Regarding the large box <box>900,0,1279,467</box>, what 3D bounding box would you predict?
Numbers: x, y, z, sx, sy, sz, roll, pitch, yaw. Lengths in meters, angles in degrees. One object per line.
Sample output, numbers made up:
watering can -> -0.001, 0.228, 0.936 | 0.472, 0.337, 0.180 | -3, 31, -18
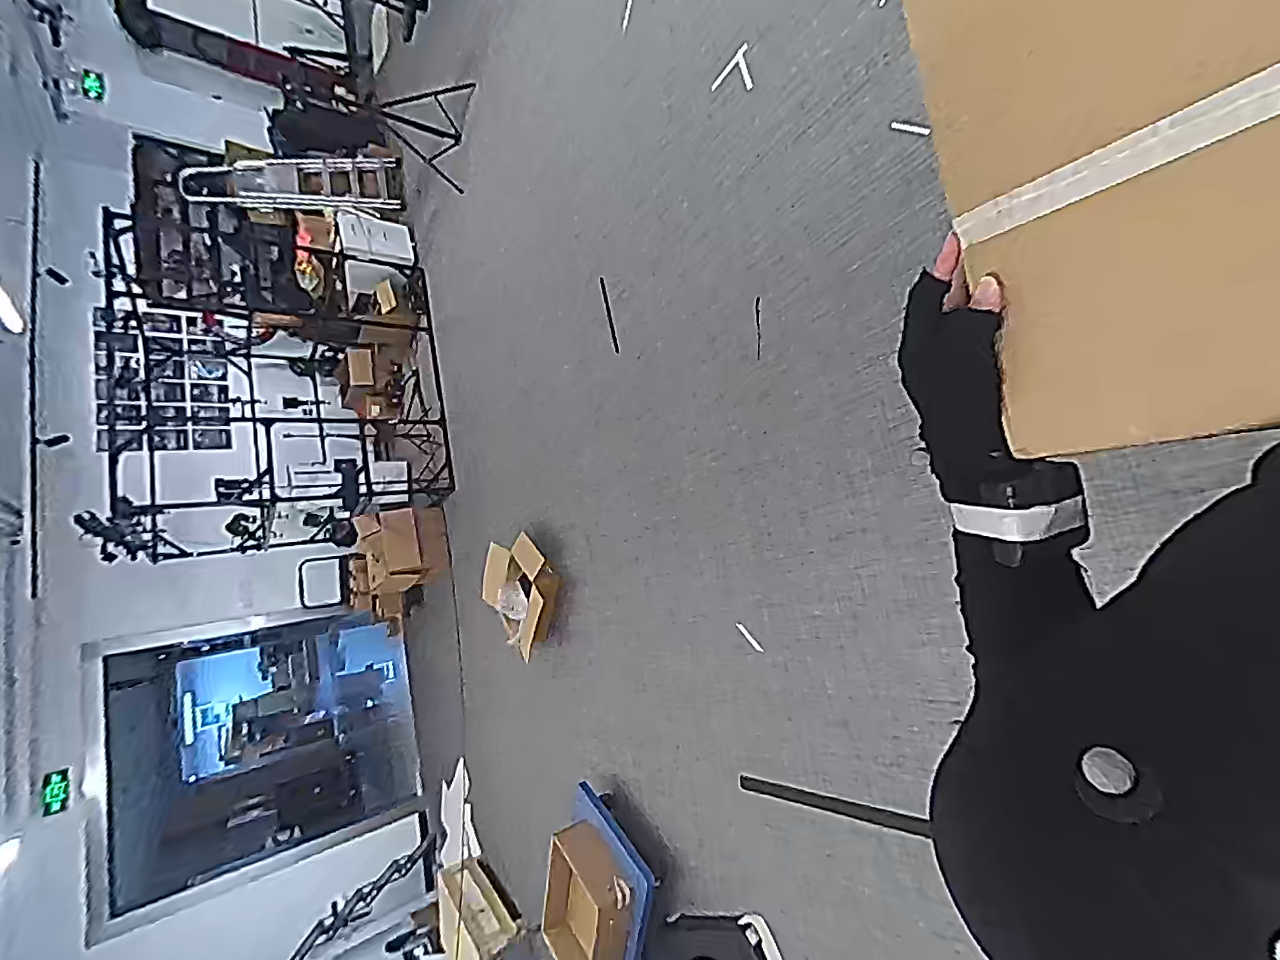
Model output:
large box -> 0.446, -0.220, 0.304 | 0.408, 0.320, 0.320 | -13, 93, 53
